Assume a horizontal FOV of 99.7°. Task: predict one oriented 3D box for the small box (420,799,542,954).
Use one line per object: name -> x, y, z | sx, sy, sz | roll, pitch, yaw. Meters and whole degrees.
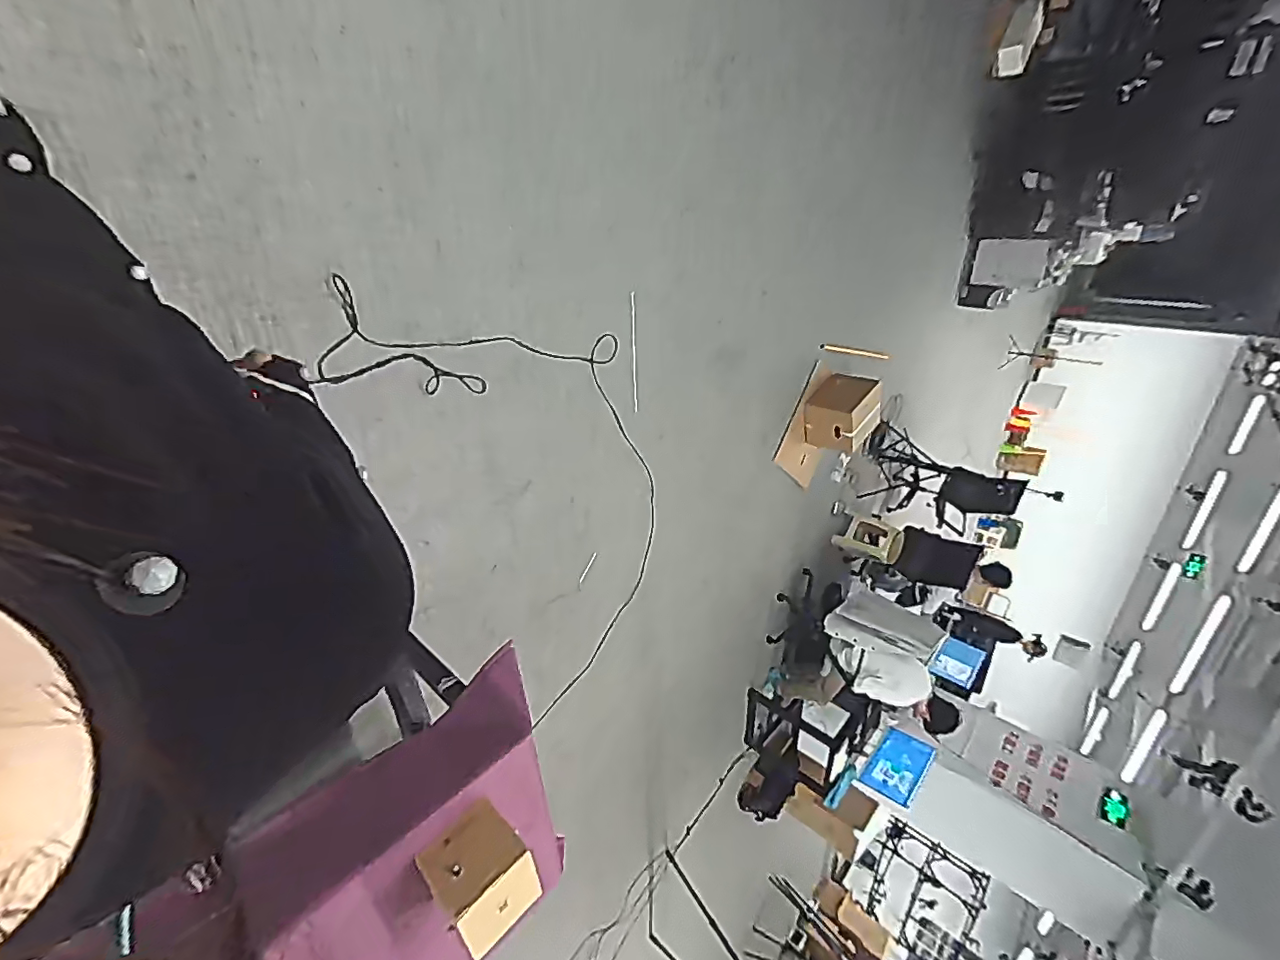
small box -> -0.331, 0.810, 1.126 | 0.168, 0.176, 0.179 | -30, 129, -38
